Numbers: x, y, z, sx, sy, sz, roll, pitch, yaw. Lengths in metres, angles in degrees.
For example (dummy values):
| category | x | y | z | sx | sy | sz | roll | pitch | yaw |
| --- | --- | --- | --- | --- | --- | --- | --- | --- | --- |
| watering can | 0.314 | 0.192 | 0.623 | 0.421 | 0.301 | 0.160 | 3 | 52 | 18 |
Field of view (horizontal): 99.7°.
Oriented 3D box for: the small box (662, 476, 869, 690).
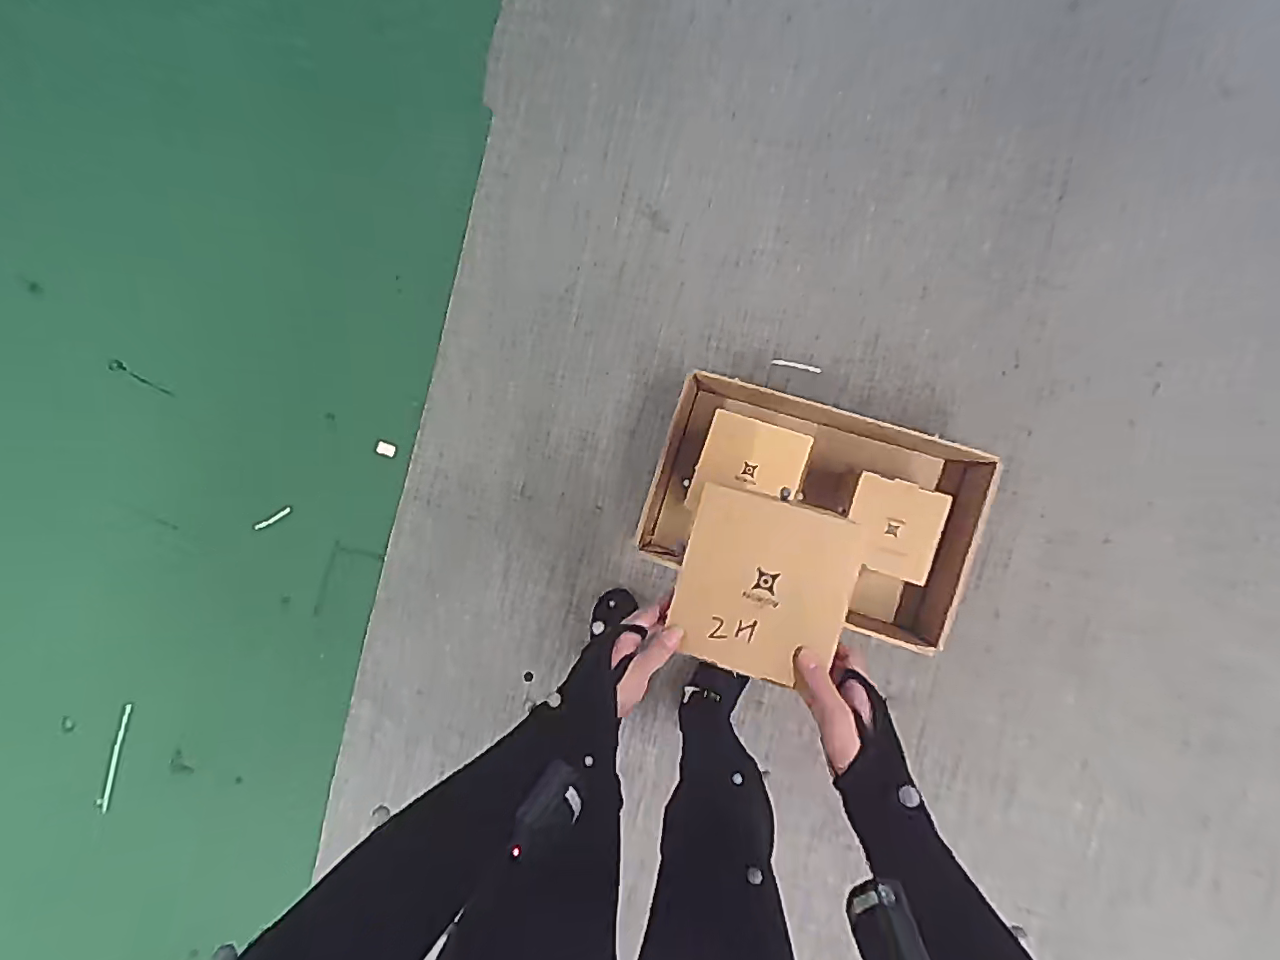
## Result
| category | x | y | z | sx | sy | sz | roll | pitch | yaw |
| --- | --- | --- | --- | --- | --- | --- | --- | --- | --- |
| small box | 0.131 | 0.099 | 0.609 | 0.168 | 0.176 | 0.179 | 16 | 93 | 8 |

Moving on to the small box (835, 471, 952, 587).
| category | x | y | z | sx | sy | sz | roll | pitch | yaw |
| --- | --- | --- | --- | --- | --- | --- | --- | --- | --- |
| small box | 0.478 | 0.091 | 1.071 | 0.168 | 0.176 | 0.179 | 18 | 92 | 10 |

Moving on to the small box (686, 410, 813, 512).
| category | x | y | z | sx | sy | sz | roll | pitch | yaw |
| --- | --- | --- | --- | --- | --- | --- | --- | --- | --- |
| small box | 0.186 | -0.006 | 0.956 | 0.168 | 0.176 | 0.179 | 18 | 91 | 8 |
